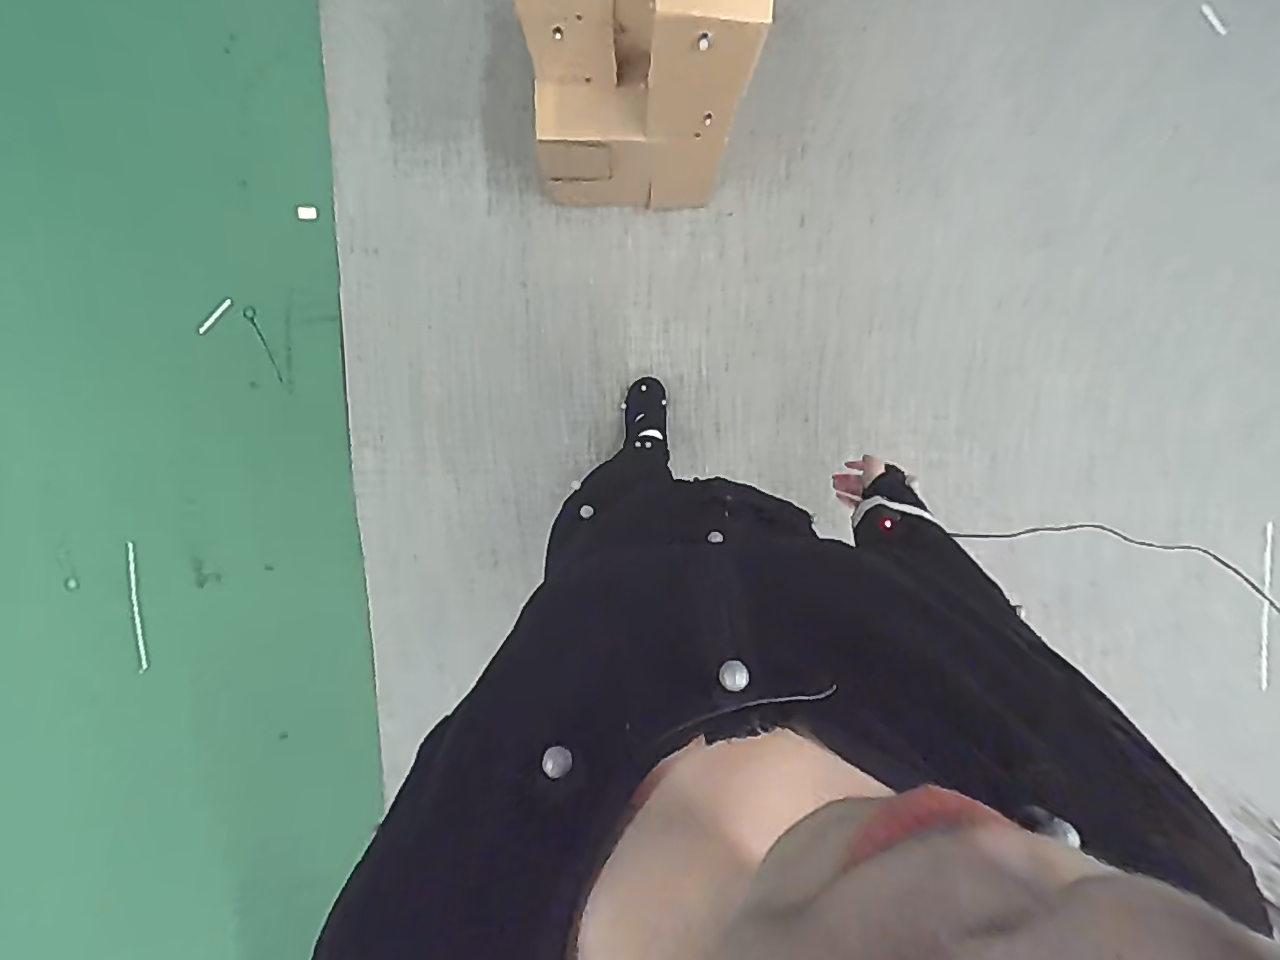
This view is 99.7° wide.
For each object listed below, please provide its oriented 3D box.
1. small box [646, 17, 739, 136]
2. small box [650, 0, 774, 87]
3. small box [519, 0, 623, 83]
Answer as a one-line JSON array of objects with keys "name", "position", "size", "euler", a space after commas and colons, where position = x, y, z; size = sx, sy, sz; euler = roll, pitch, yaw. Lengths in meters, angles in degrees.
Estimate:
[{"name": "small box", "position": [0.101, -0.786, 1.020], "size": [0.168, 0.176, 0.179], "euler": [4, 93, -2]}, {"name": "small box", "position": [0.112, -0.766, 0.859], "size": [0.179, 0.176, 0.168], "euler": [5, 94, -1]}, {"name": "small box", "position": [-0.122, -0.896, 1.014], "size": [0.168, 0.176, 0.179], "euler": [4, 93, 1]}]
